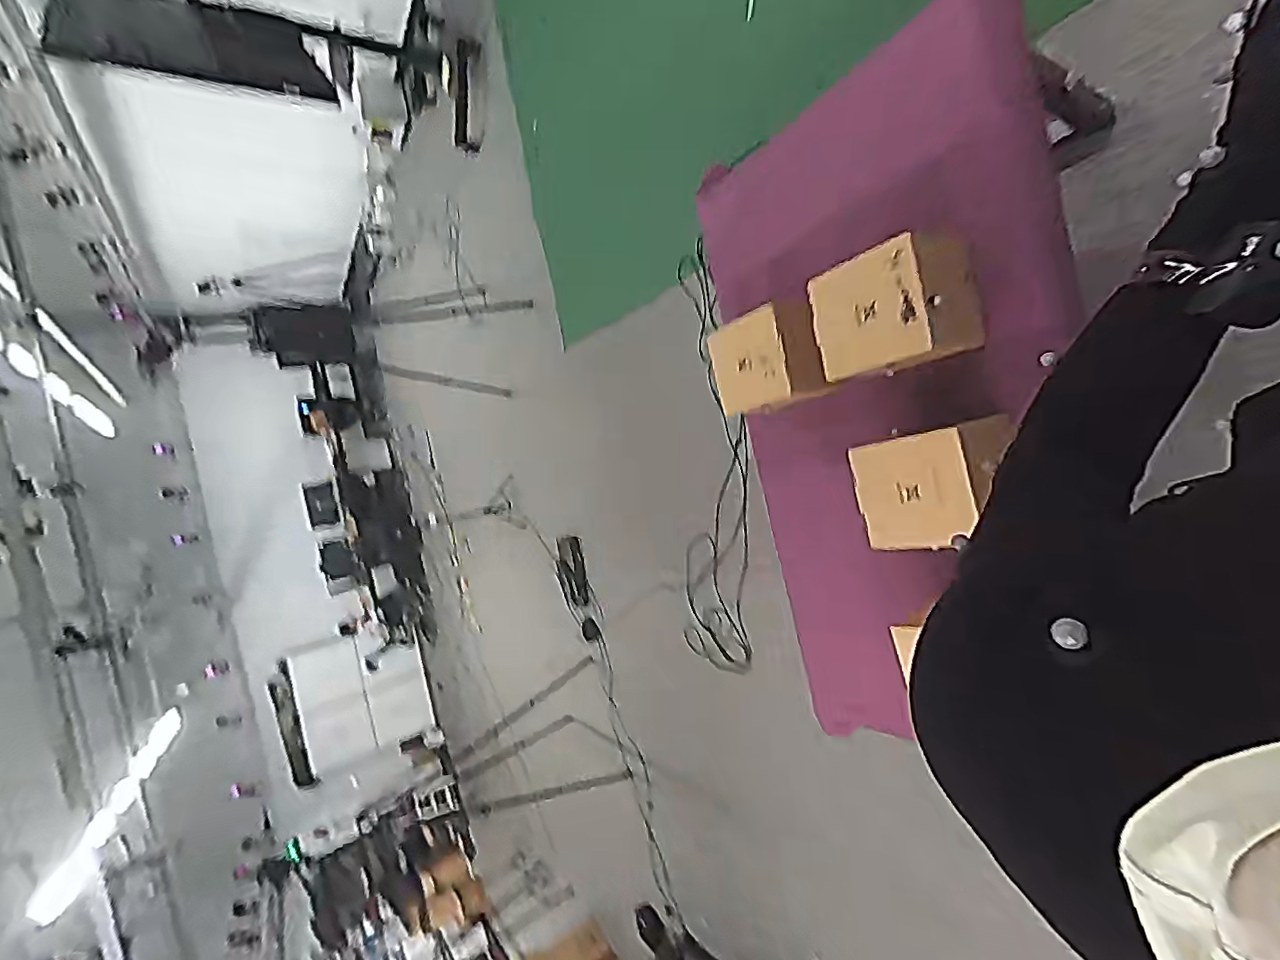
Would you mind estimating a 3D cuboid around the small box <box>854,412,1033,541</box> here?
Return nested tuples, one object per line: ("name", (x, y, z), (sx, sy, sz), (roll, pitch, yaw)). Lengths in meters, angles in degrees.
("small box", (0.480, -0.004, 0.860), (0.179, 0.176, 0.168), (-14, 90, 56))

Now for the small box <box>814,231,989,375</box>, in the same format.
("small box", (0.414, -0.272, 0.864), (0.179, 0.176, 0.168), (-11, 92, 57))

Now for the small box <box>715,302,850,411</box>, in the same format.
("small box", (0.281, -0.240, 1.071), (0.179, 0.176, 0.168), (-12, 91, 56))
